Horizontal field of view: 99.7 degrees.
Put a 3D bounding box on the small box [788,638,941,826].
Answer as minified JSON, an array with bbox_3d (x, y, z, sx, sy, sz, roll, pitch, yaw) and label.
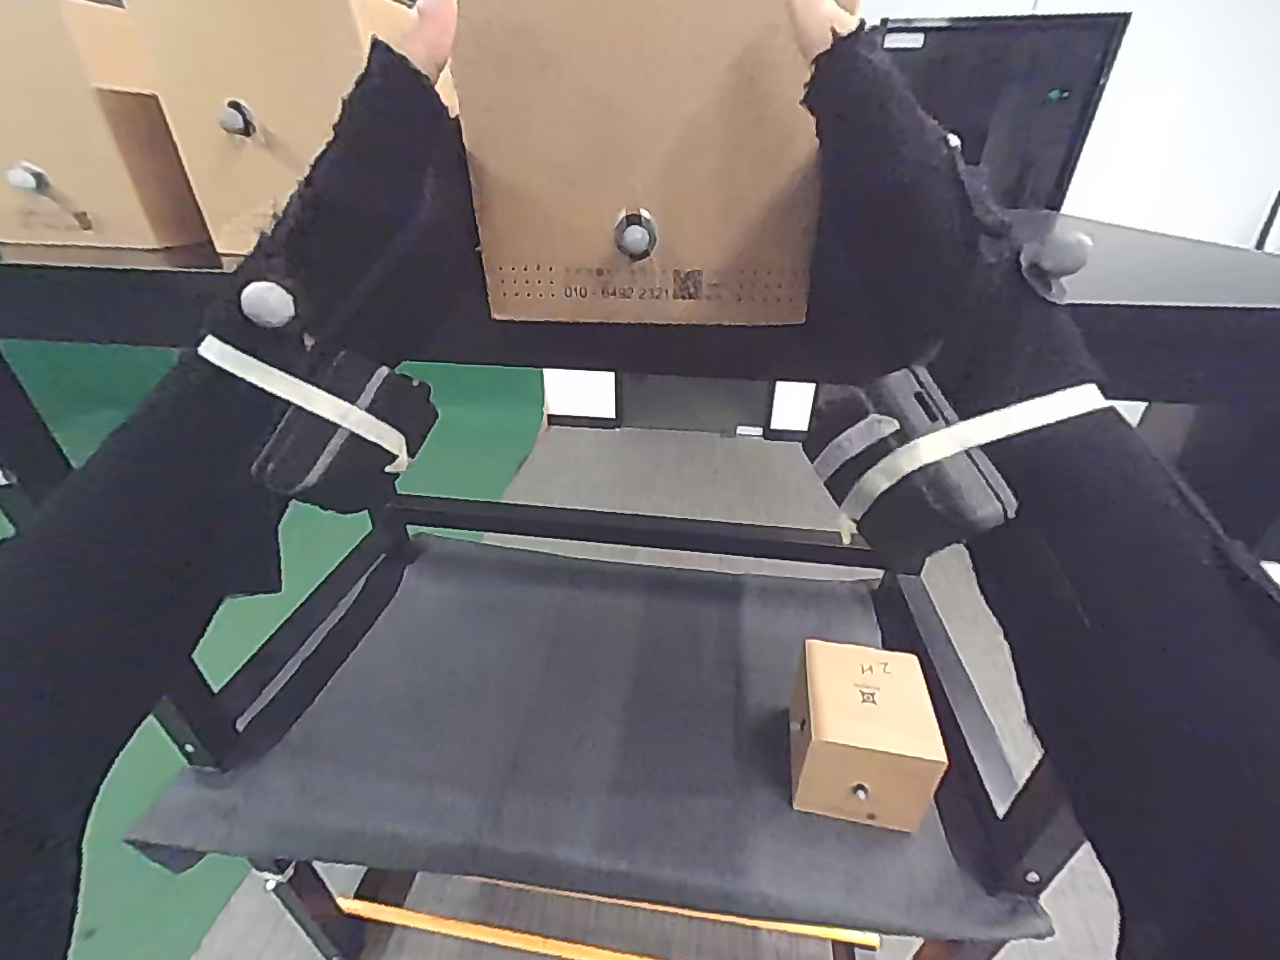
[{"bbox_3d":[0.313,0.365,0.792,0.168,0.176,0.179,7,31,10],"label":"small box"}]

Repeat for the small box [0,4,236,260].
[{"bbox_3d":[-0.467,-0.310,0.498,0.168,0.176,0.179,5,32,8],"label":"small box"}]

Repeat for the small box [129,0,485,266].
[{"bbox_3d":[-0.247,-0.283,0.459,0.168,0.176,0.179,5,31,8],"label":"small box"}]
